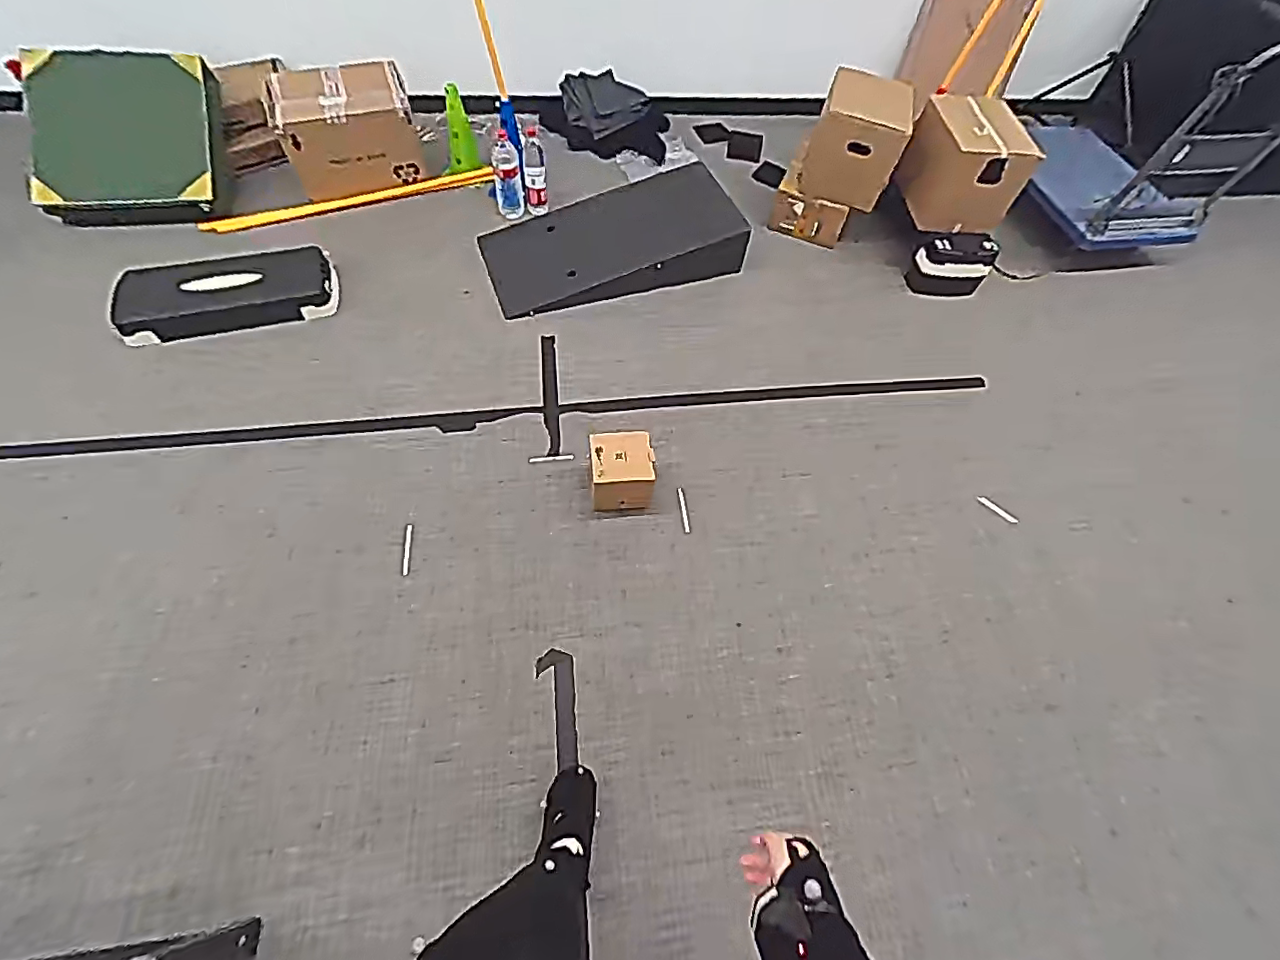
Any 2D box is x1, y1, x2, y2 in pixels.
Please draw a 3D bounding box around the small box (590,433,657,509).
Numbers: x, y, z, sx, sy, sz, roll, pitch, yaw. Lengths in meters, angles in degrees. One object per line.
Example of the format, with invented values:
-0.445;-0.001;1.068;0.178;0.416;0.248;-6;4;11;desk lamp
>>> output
-0.053;-0.024;1.584;0.179;0.176;0.168;-2;60;-7;small box
